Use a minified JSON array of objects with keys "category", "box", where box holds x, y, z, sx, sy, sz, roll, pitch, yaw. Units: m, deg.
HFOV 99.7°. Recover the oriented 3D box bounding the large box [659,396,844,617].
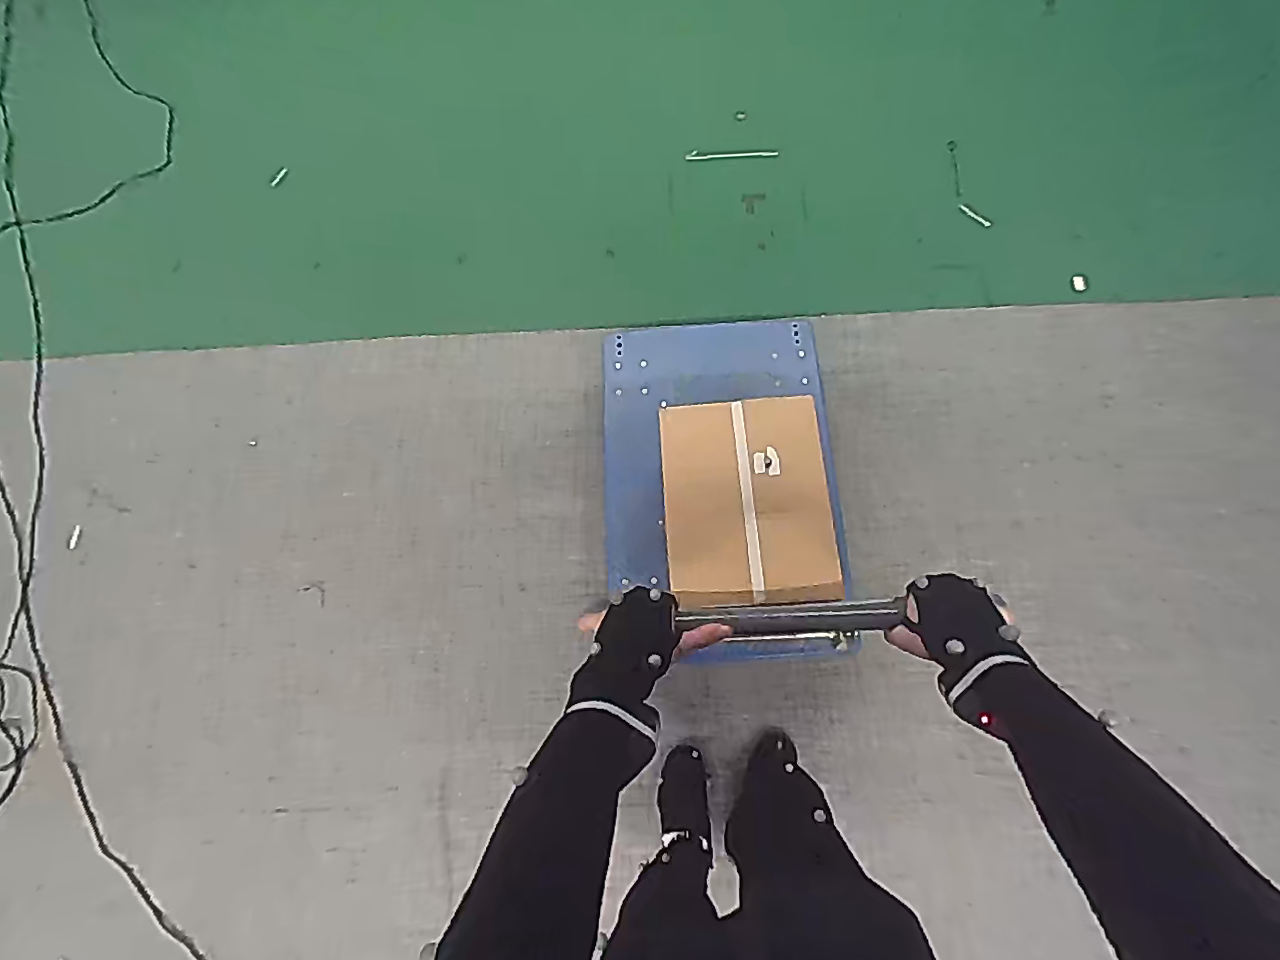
[{"category":"large box","box":[0.216,0.075,1.179,0.320,0.320,0.408,-4,72,3]}]
